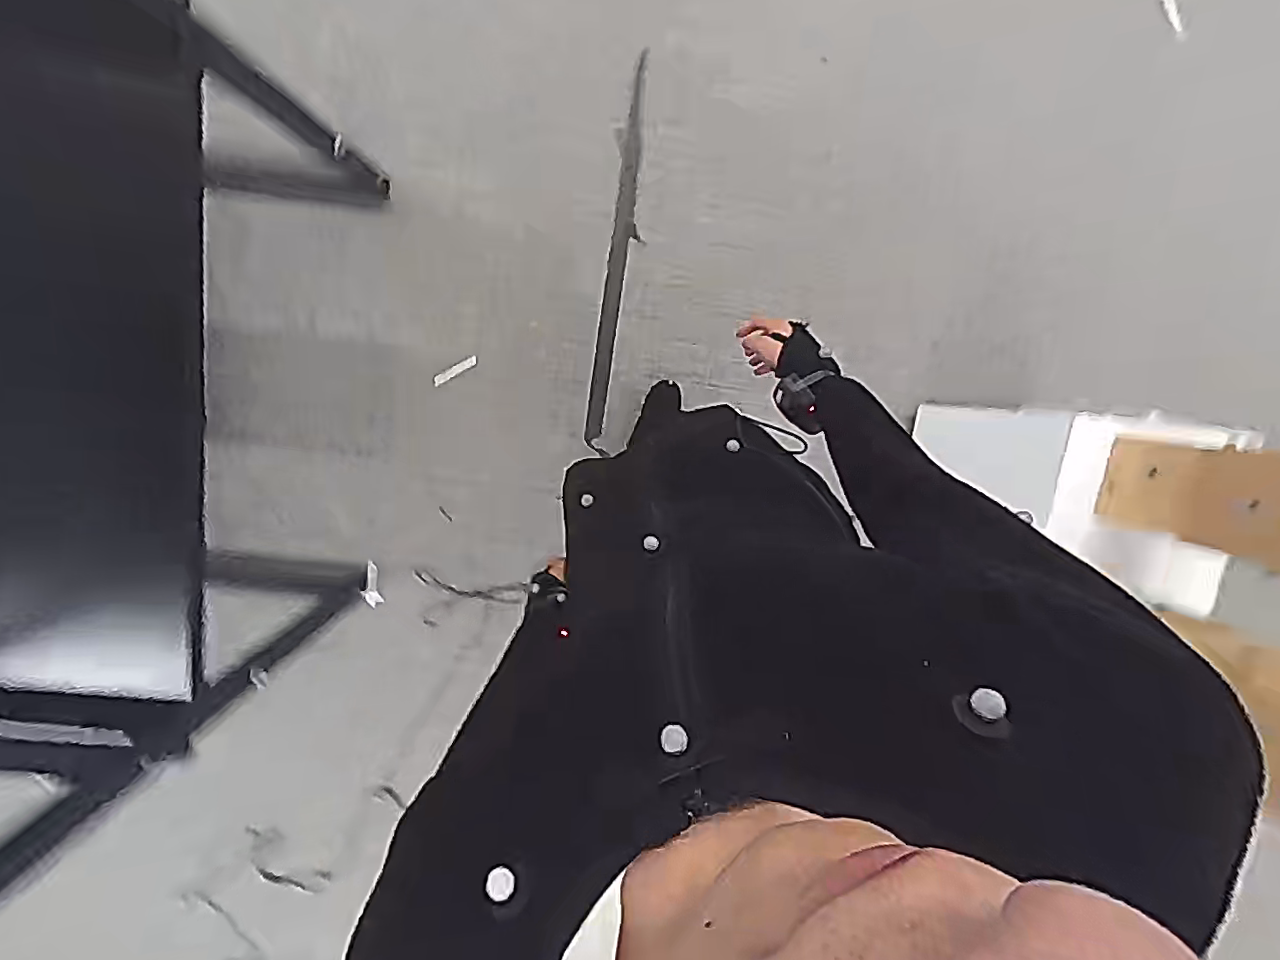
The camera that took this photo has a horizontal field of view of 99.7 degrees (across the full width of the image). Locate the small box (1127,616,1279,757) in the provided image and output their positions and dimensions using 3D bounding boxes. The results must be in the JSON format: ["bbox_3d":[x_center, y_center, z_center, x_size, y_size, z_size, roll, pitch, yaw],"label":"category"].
[{"bbox_3d":[0.958,0.333,0.880,0.179,0.176,0.168,4,99,-3],"label":"small box"}]

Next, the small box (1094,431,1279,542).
[{"bbox_3d":[0.996,0.004,0.993,0.179,0.176,0.168,6,100,-4],"label":"small box"}]
